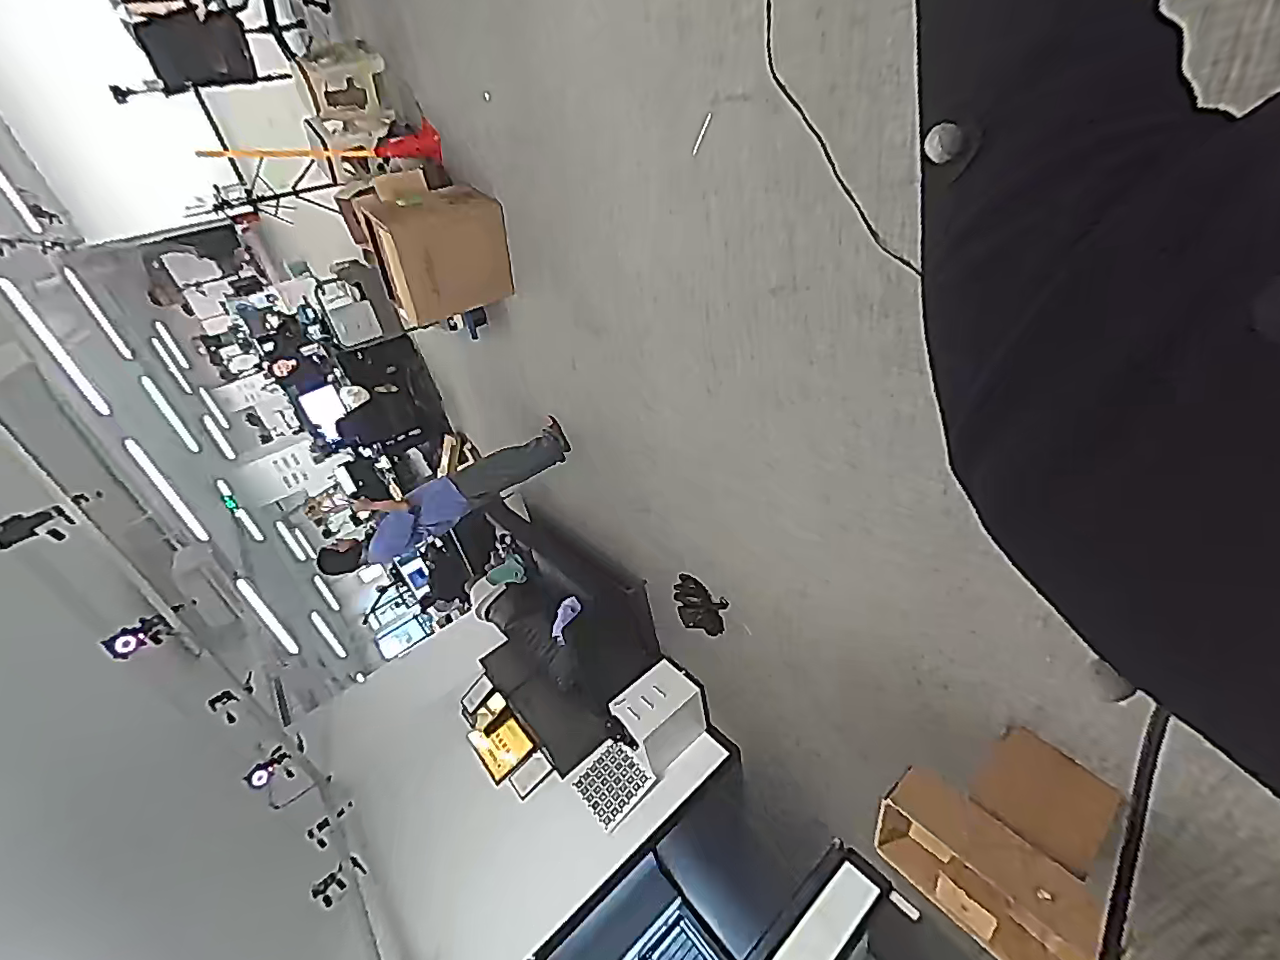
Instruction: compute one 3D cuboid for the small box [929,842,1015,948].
[{"bbox_3d":[1.032,1.283,1.681,0.168,0.176,0.179,28,141,46],"label":"small box"}]
